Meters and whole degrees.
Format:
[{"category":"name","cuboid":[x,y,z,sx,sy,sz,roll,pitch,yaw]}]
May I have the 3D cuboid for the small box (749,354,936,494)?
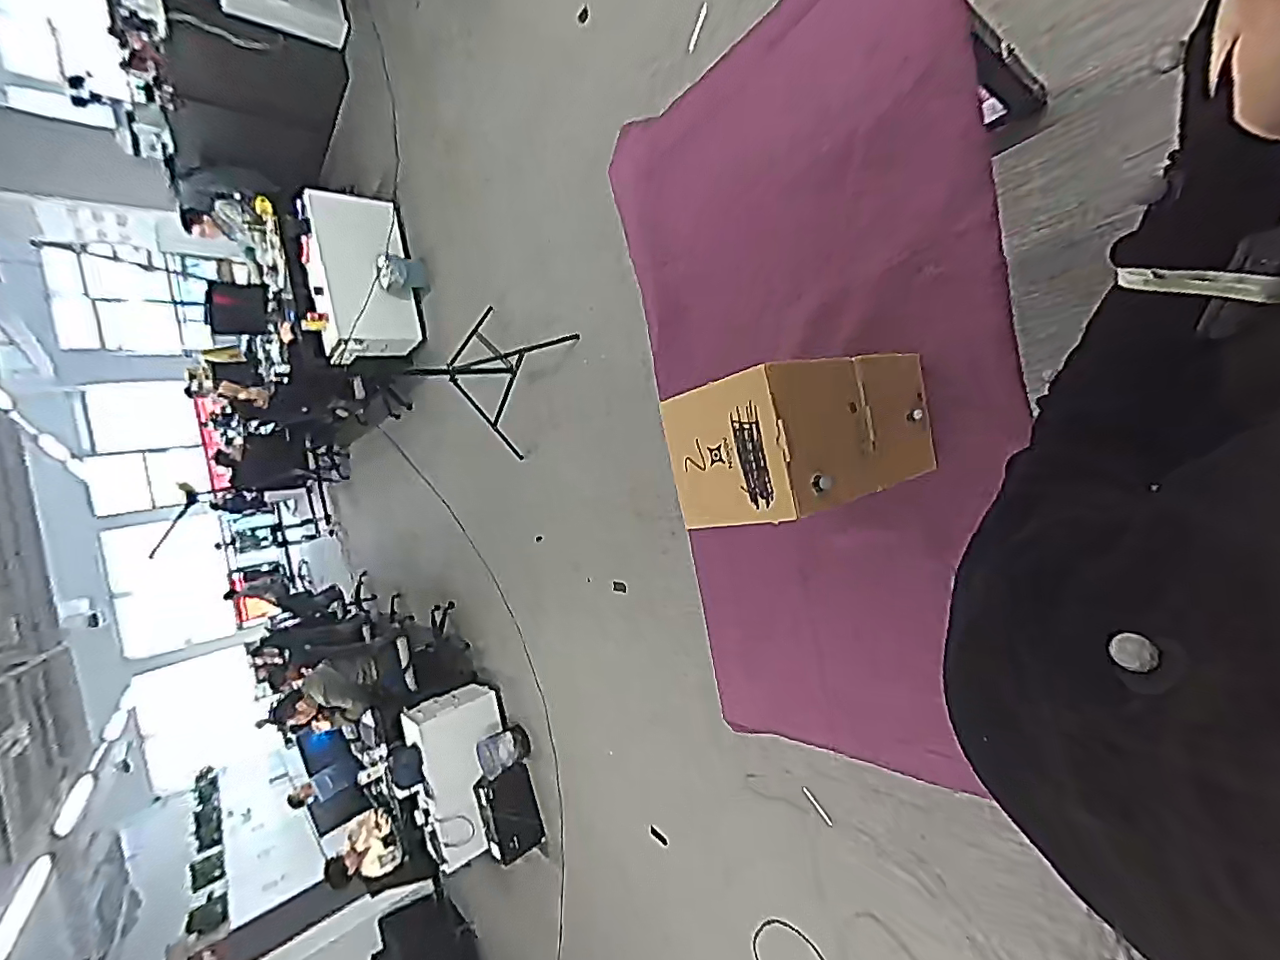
[{"category":"small box","cuboid":[0.285,-0.077,0.765,0.179,0.176,0.168,-7,95,51]}]
